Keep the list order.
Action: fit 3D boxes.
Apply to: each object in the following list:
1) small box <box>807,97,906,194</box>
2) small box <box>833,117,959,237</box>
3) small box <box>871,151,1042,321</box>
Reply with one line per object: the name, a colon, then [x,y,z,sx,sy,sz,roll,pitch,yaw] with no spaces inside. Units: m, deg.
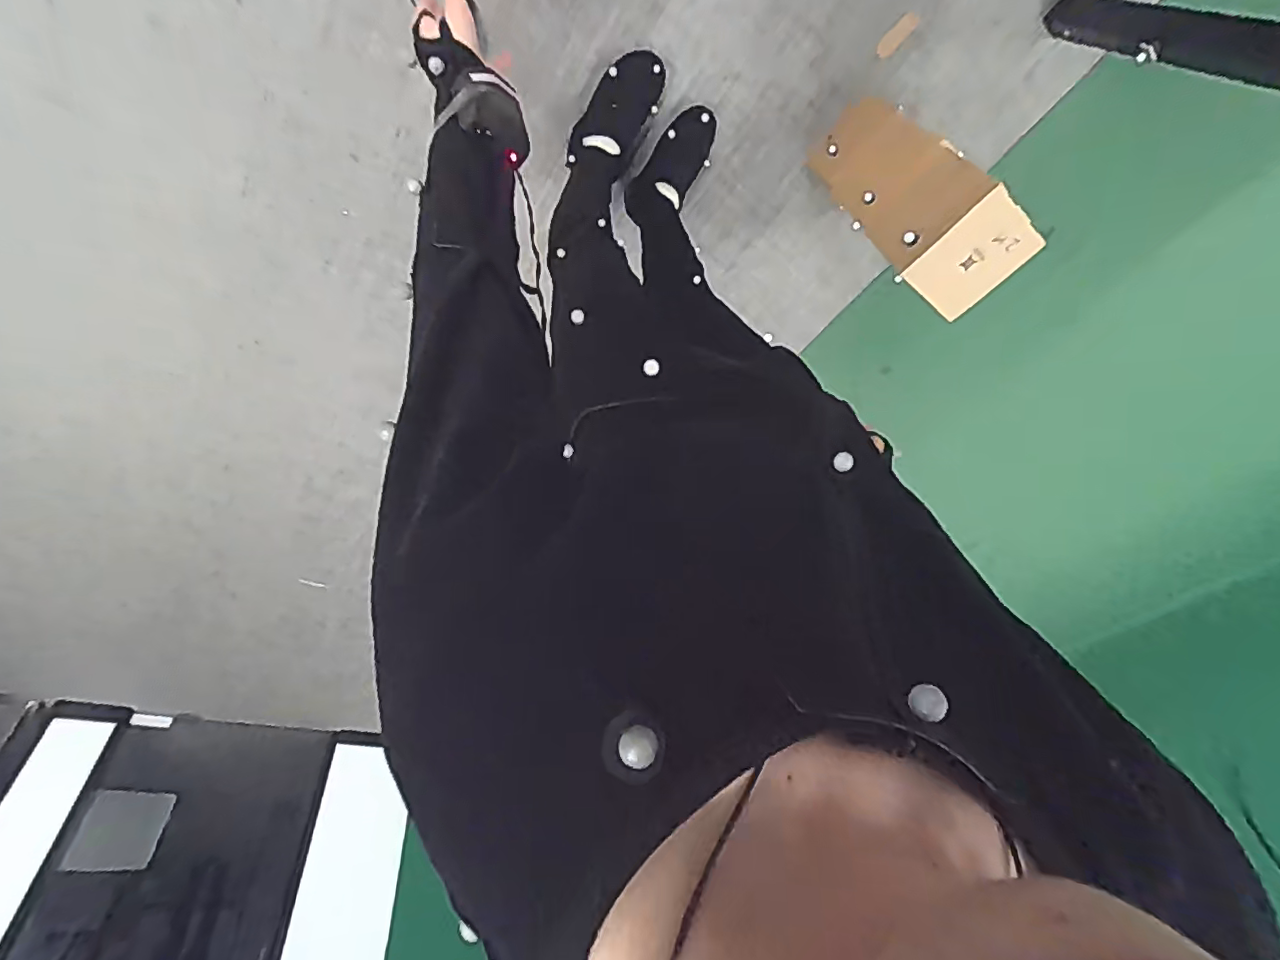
small box: [0.485,-0.670,1.144,0.179,0.176,0.168,25,127,-31]
small box: [0.506,-0.550,1.037,0.168,0.176,0.179,23,129,-29]
small box: [0.531,-0.421,0.937,0.168,0.176,0.179,23,129,-30]
